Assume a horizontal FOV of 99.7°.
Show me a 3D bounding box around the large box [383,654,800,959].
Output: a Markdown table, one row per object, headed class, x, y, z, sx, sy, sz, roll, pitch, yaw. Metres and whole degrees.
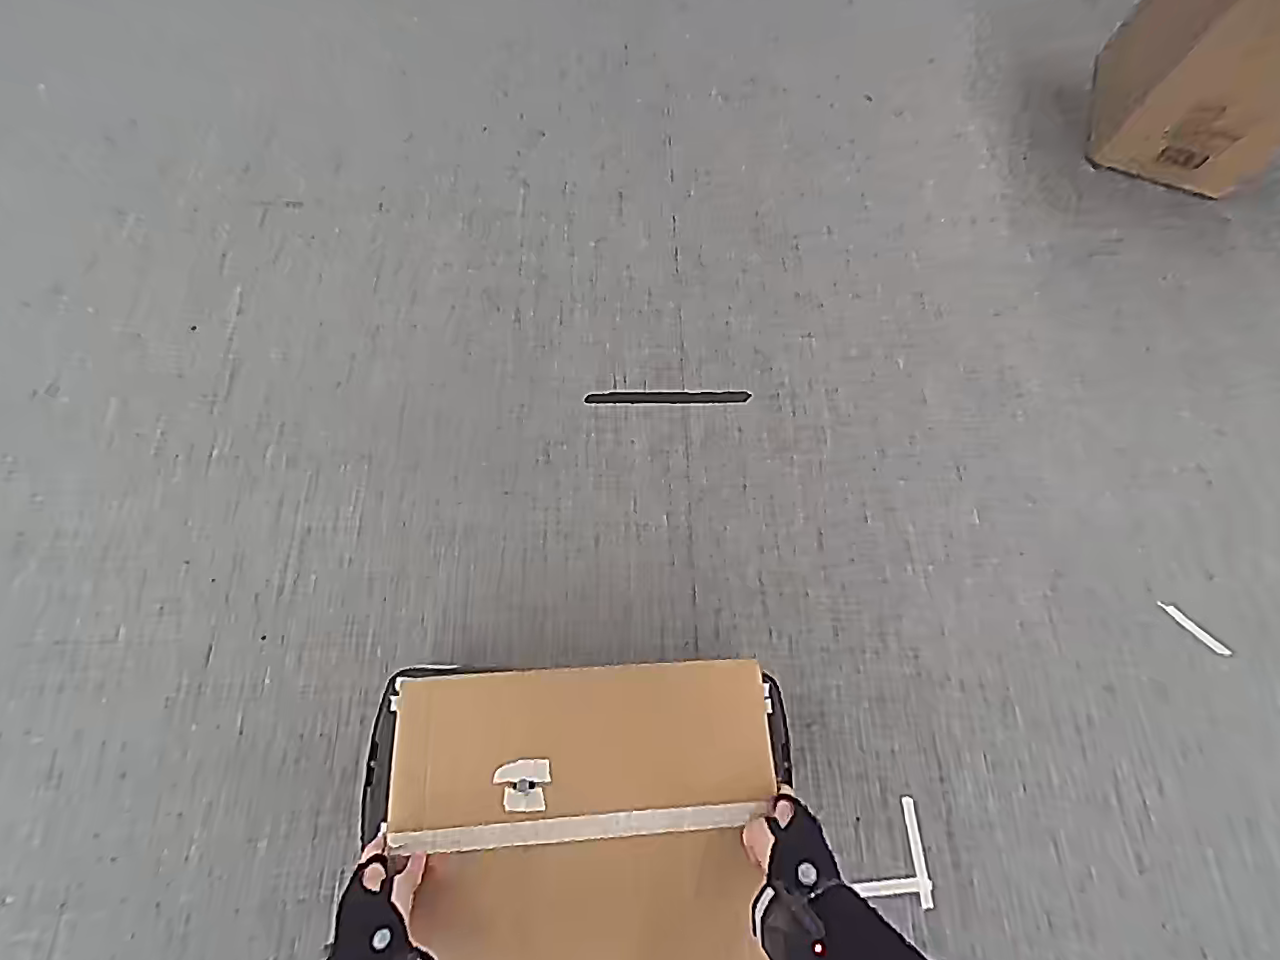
| class | x | y | z | sx | sy | sz | roll | pitch | yaw |
| --- | --- | --- | --- | --- | --- | --- | --- | --- | --- |
| large box | -0.056 | 0.407 | 0.692 | 0.408 | 0.320 | 0.320 | -3 | 69 | -3 |
